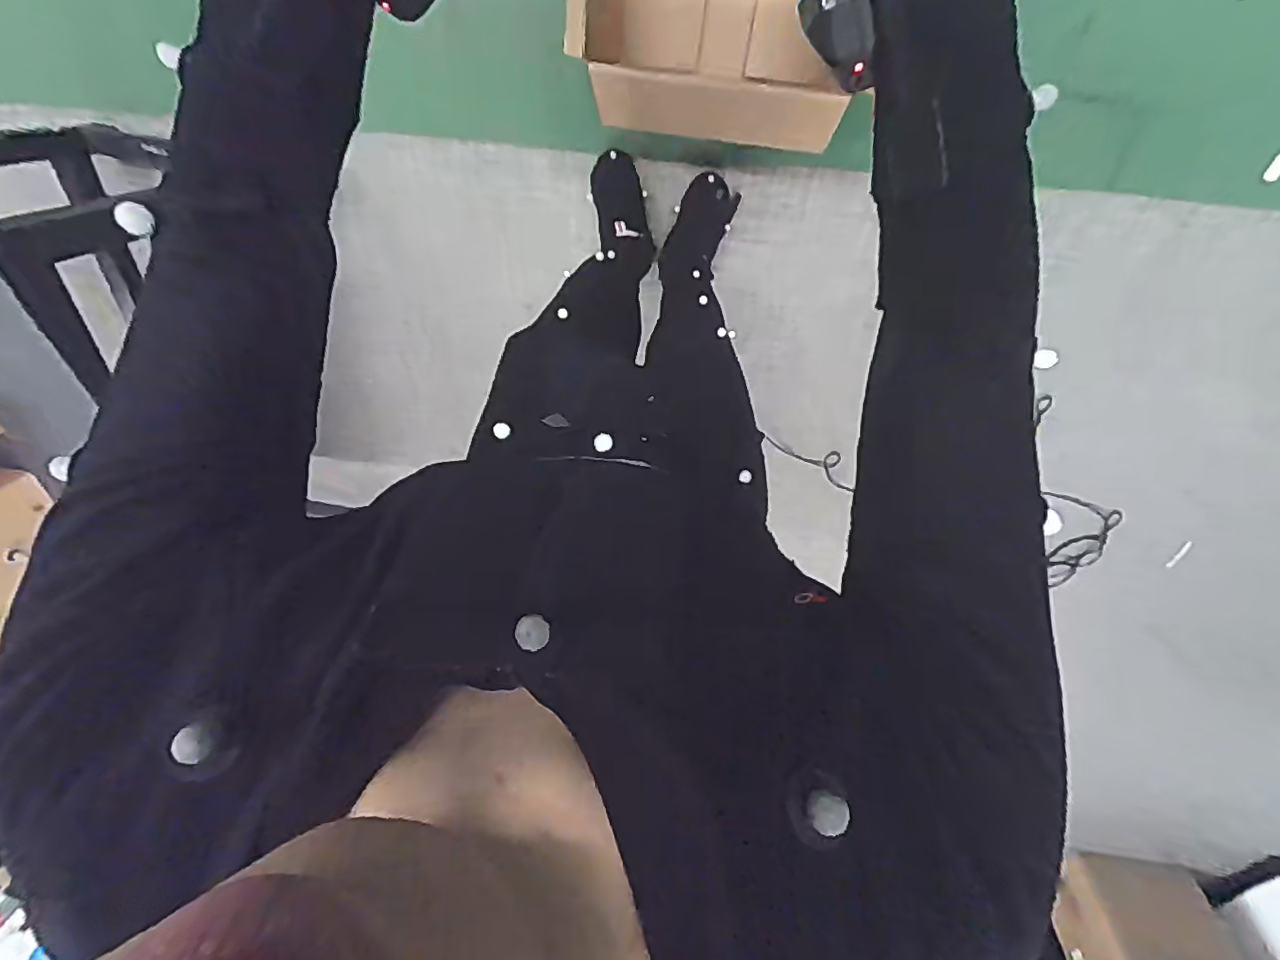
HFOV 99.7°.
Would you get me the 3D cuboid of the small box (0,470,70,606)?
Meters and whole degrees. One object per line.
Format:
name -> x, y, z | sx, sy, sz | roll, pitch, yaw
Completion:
small box -> -1.089, 0.088, 0.865 | 0.179, 0.176, 0.168 | 7, 128, 4
